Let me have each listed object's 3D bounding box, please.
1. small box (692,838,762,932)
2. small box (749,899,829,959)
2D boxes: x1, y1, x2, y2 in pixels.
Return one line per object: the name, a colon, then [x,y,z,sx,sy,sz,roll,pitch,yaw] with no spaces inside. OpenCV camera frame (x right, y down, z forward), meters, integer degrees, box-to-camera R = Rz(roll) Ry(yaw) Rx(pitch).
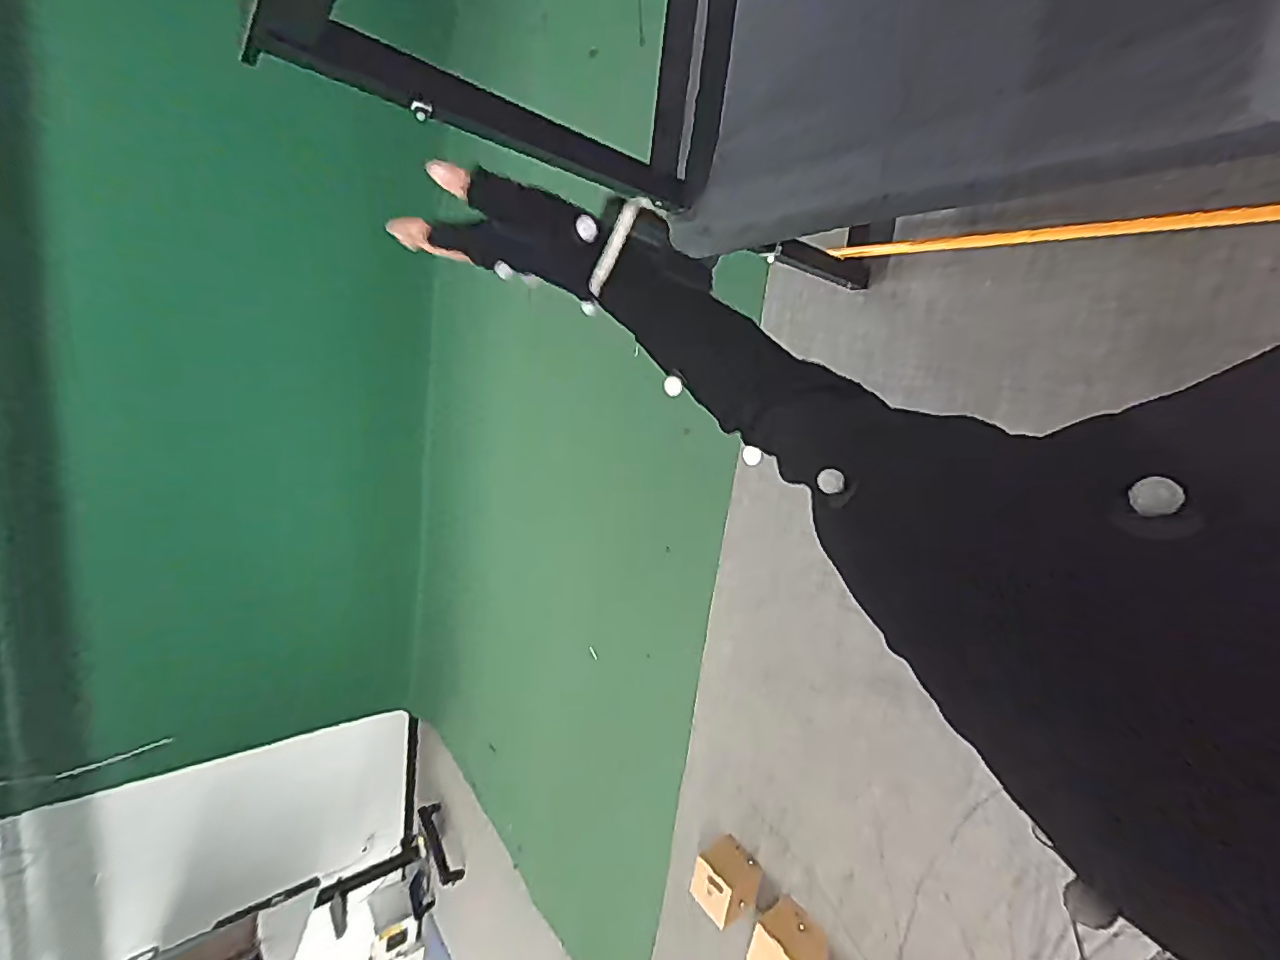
small box: [0.314,1.434,1.931,0.168,0.176,0.179,23,109,48]
small box: [0.480,1.516,1.735,0.168,0.176,0.179,24,109,48]
